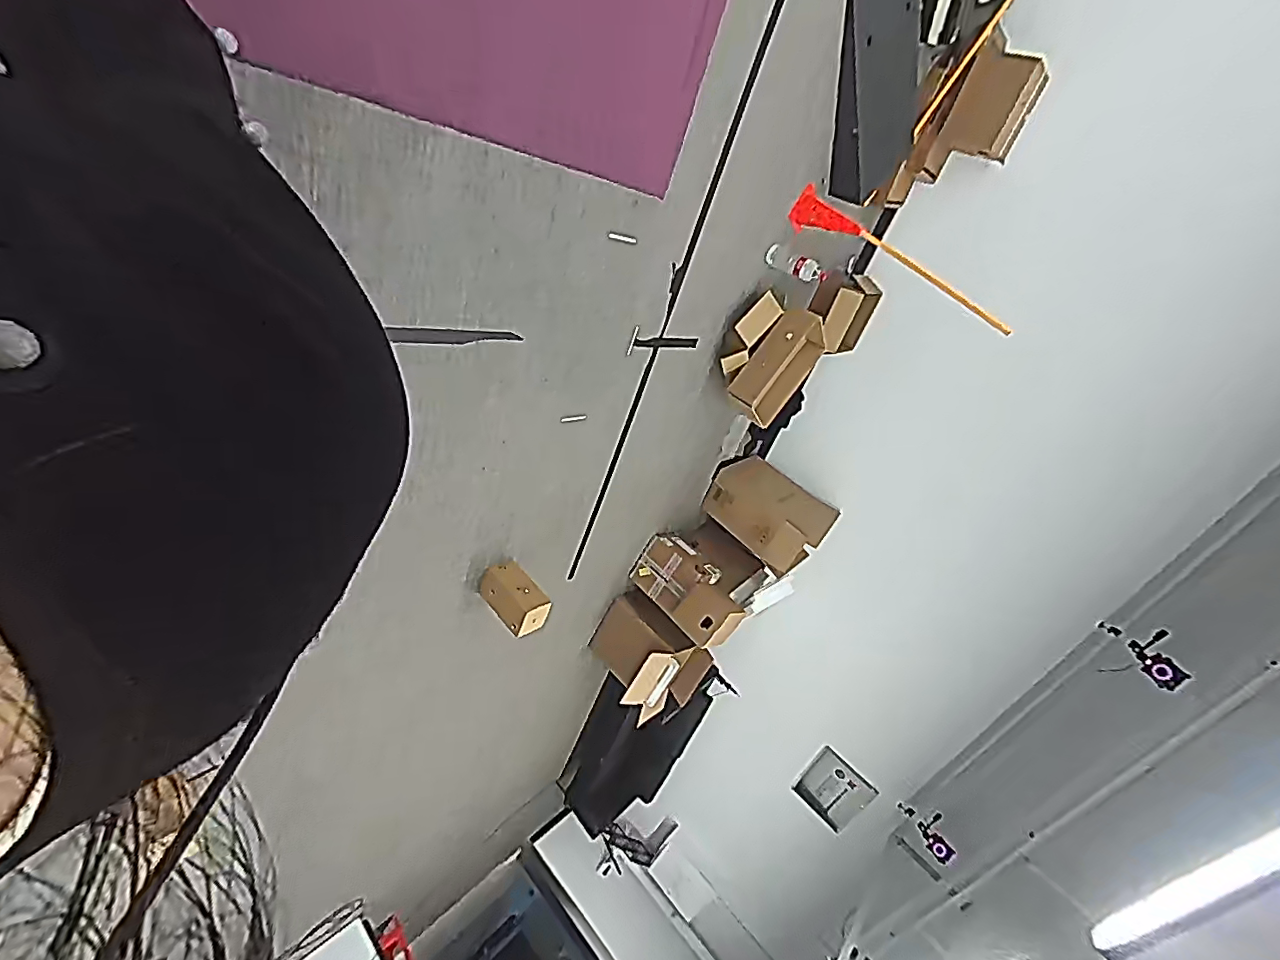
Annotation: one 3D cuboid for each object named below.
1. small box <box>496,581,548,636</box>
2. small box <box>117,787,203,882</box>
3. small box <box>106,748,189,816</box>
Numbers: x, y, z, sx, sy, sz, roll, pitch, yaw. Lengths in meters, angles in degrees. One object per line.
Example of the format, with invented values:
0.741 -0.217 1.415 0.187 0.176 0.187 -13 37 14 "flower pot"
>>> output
-0.583 0.625 2.647 0.168 0.176 0.179 -14 134 -52 "small box"
-1.570 1.149 1.768 0.168 0.176 0.179 -20 140 -46 "small box"
-1.681 1.056 1.846 0.168 0.176 0.179 -20 141 -45 "small box"
